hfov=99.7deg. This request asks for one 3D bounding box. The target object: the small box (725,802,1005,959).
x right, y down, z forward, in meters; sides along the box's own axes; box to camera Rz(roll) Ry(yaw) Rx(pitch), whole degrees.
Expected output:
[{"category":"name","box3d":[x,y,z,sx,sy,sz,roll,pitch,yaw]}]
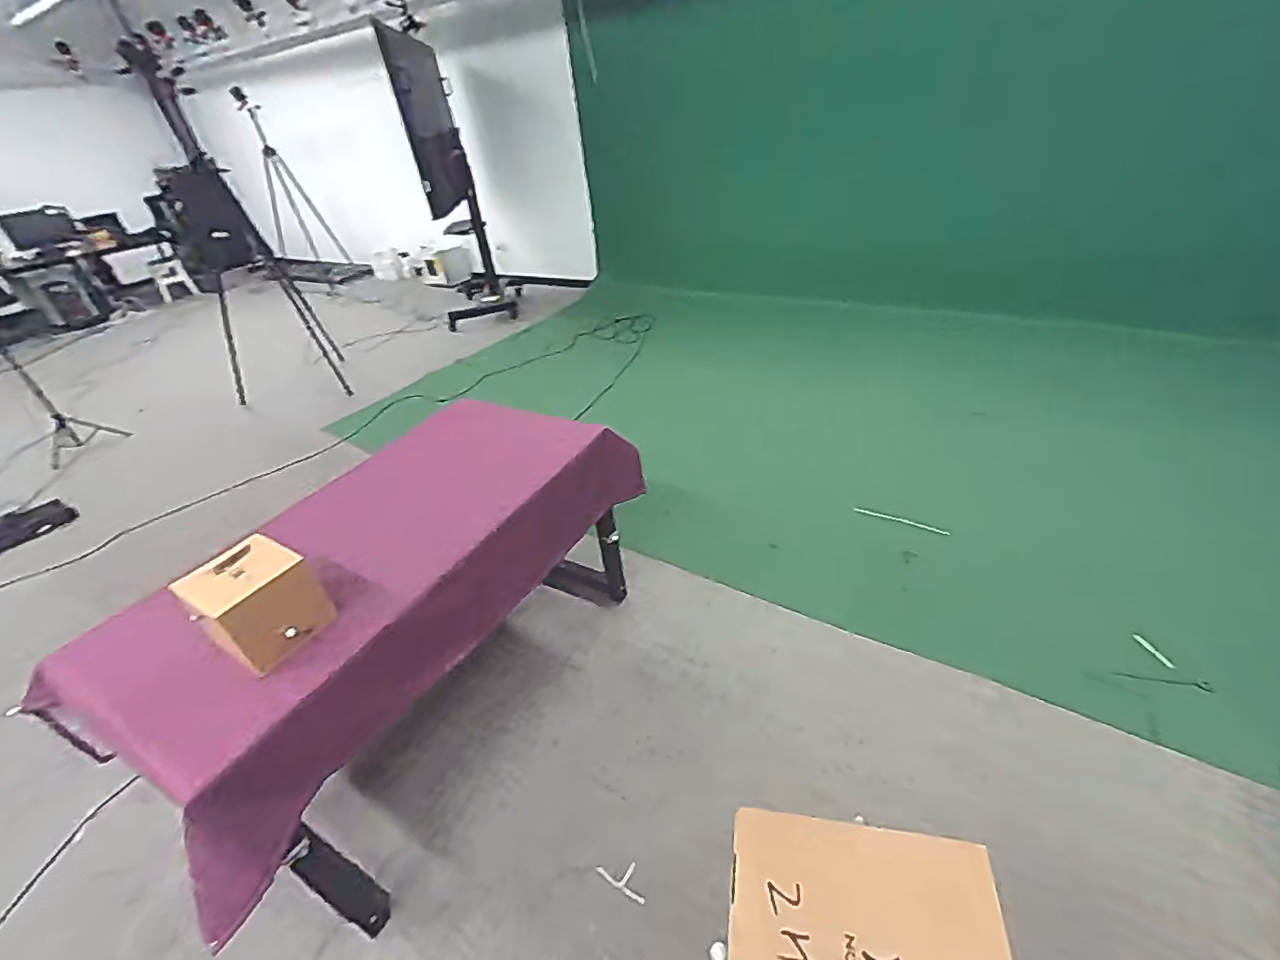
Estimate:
[{"category":"small box","box3d":[0.154,0.365,0.404,0.179,0.176,0.168,1,46,12]}]

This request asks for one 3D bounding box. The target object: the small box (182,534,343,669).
[{"category":"small box","box3d":[-0.729,0.237,1.059,0.179,0.176,0.168,15,41,28]}]
